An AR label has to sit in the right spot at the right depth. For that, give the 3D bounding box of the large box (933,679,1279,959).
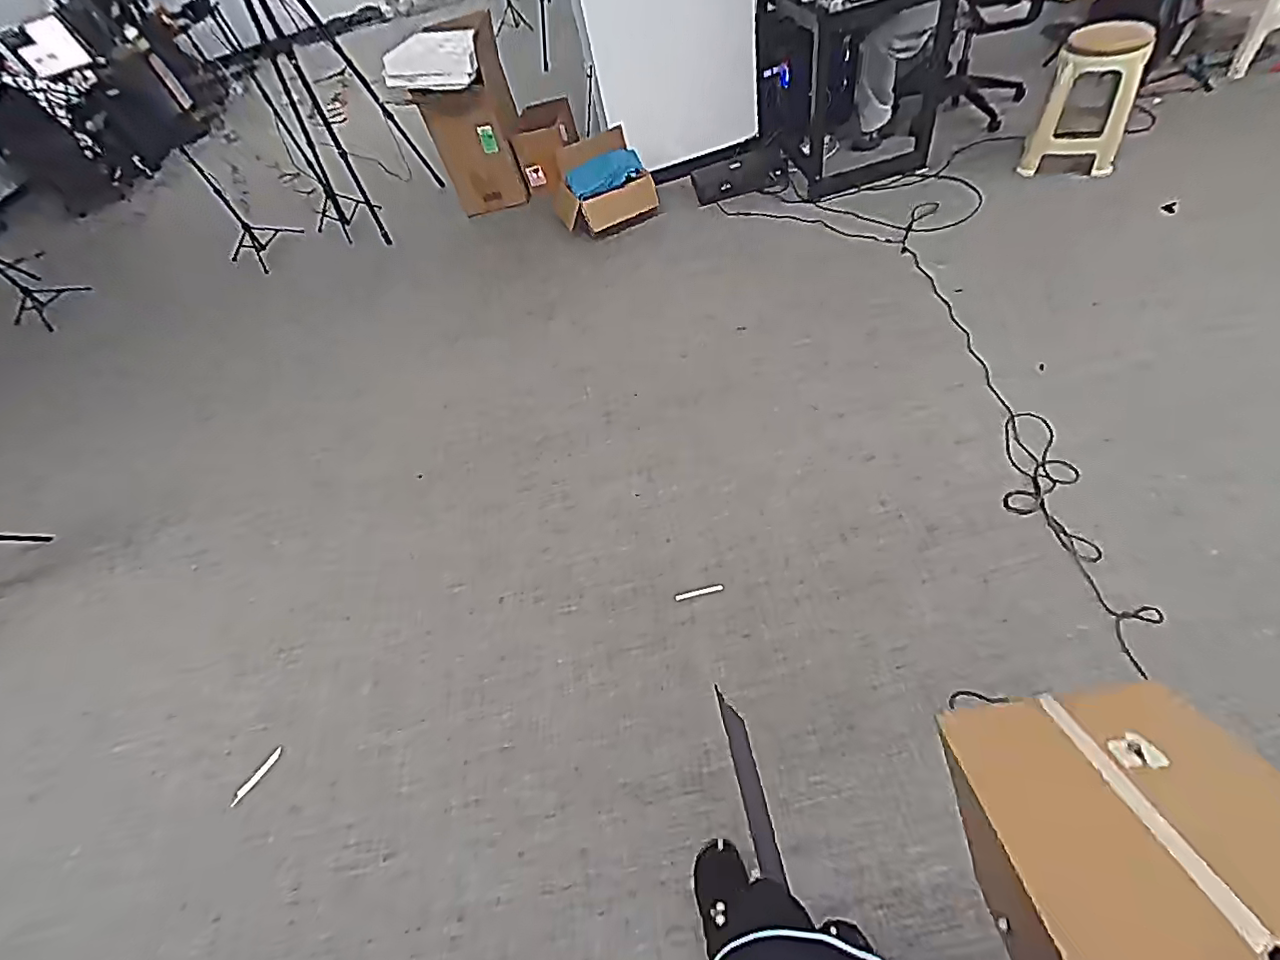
[{"bbox_3d":[0.626,0.517,0.669,0.320,0.320,0.408,-15,9,13],"label":"large box"}]
